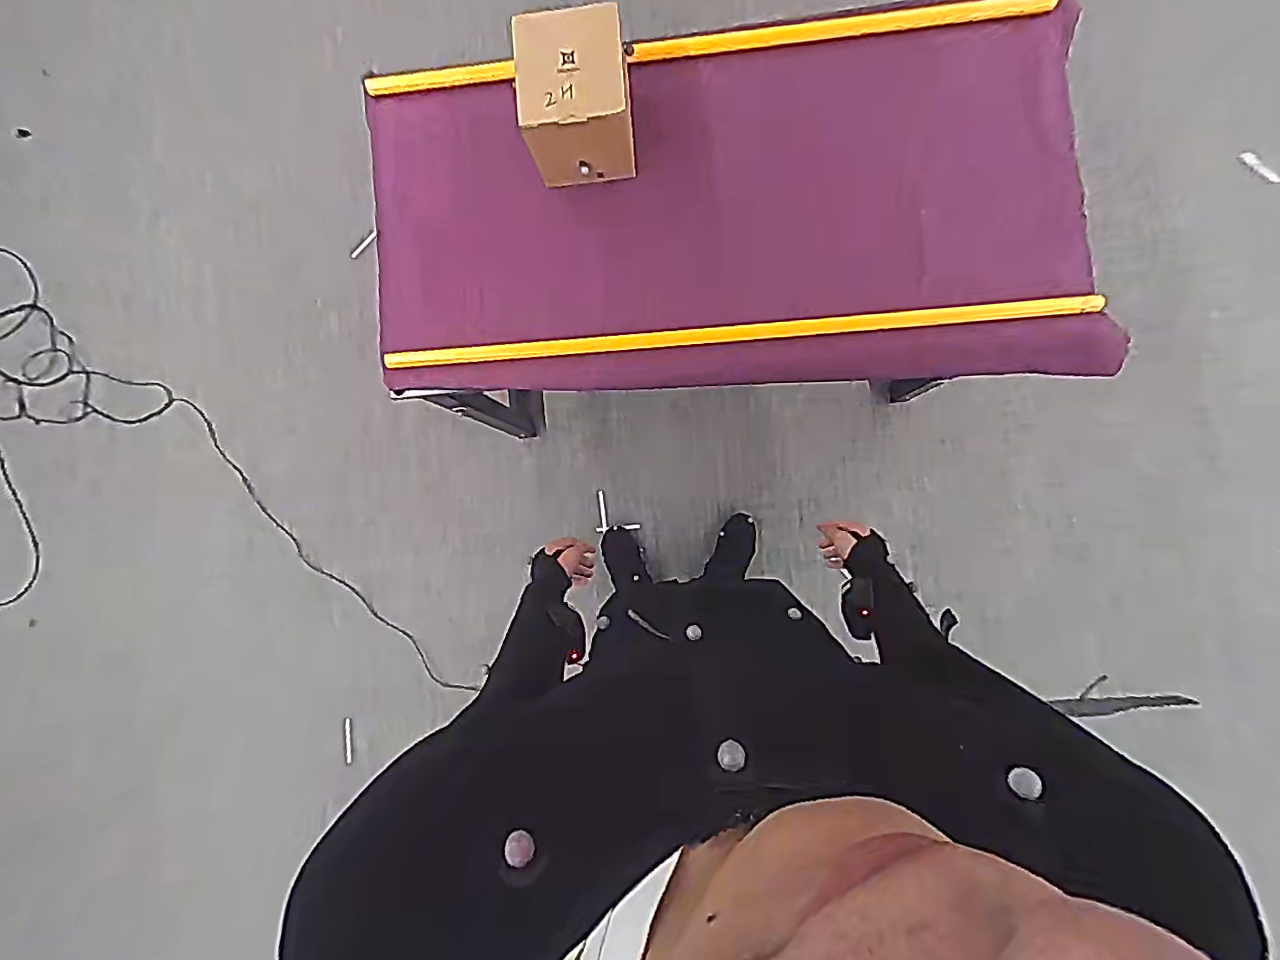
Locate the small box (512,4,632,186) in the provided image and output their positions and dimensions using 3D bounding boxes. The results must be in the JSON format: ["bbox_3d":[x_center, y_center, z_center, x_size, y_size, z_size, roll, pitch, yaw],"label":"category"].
[{"bbox_3d":[-0.105,-0.622,0.893,0.168,0.176,0.179,-4,89,5],"label":"small box"}]
